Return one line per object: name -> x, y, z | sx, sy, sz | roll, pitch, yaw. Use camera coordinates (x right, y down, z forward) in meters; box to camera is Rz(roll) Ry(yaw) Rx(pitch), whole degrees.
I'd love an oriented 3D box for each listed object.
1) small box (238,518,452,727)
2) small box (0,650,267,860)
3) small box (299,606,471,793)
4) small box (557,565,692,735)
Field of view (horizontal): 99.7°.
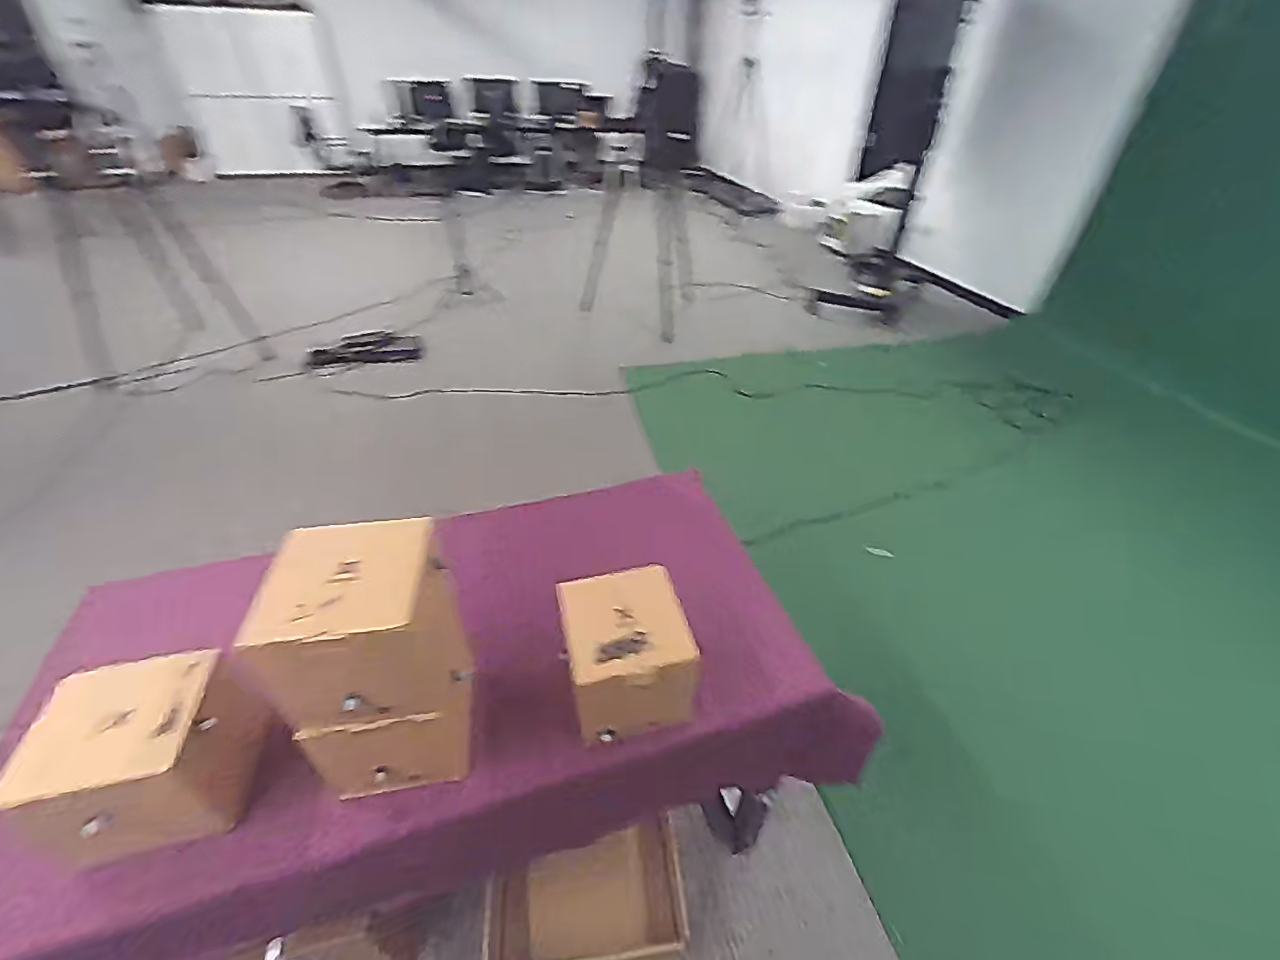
small box -> -0.336, 0.171, 0.663 | 0.168, 0.176, 0.179 | -5, 40, -7
small box -> -0.625, 0.350, 0.691 | 0.179, 0.176, 0.168 | -9, 40, -12
small box -> -0.338, 0.304, 0.760 | 0.168, 0.176, 0.179 | -6, 40, -8
small box -> -0.026, 0.260, 0.820 | 0.168, 0.176, 0.179 | -9, 39, -12
